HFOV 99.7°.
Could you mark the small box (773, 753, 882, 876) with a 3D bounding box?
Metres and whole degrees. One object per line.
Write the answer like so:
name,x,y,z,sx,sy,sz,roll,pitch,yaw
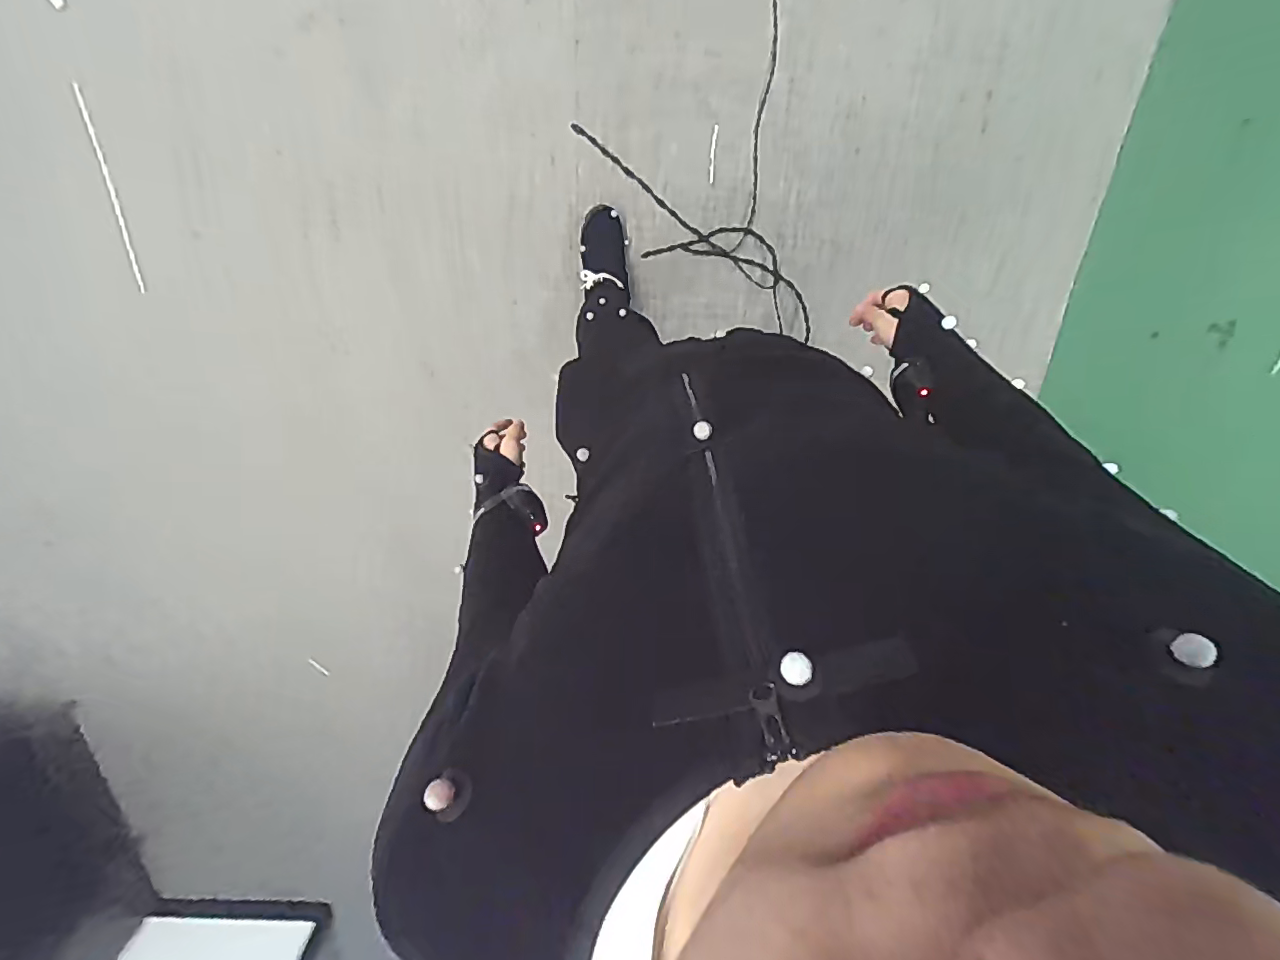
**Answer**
small box,0.396,0.731,1.179,0.168,0.176,0.179,4,115,-1
